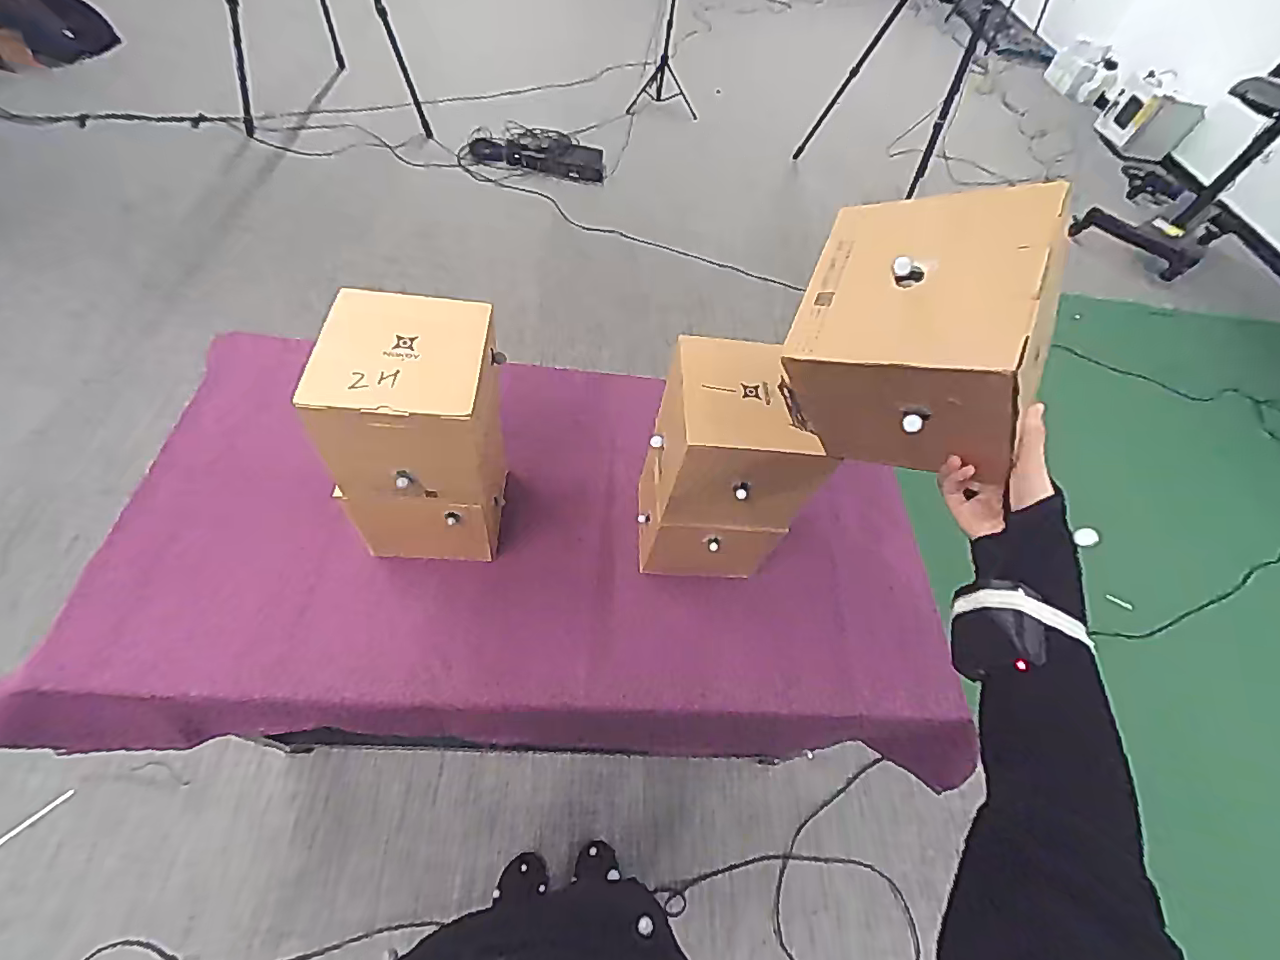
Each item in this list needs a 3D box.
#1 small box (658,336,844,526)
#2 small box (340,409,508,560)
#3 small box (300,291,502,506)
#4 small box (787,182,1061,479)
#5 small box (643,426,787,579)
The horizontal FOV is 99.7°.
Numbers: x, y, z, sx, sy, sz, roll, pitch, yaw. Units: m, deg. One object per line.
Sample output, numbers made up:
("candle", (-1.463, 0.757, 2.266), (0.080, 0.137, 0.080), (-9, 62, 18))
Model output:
("small box", (0.122, -0.053, 0.677), (0.179, 0.176, 0.168), (4, 56, -6))
("small box", (-0.289, 0.004, 0.769), (0.179, 0.176, 0.168), (4, 56, -8))
("small box", (-0.257, -0.091, 0.635), (0.168, 0.176, 0.179), (4, 55, -7))
("small box", (0.250, -0.120, 0.481), (0.176, 0.179, 0.168), (13, 72, 39))
("small box", (0.099, 0.039, 0.811), (0.179, 0.176, 0.168), (5, 57, -7))
